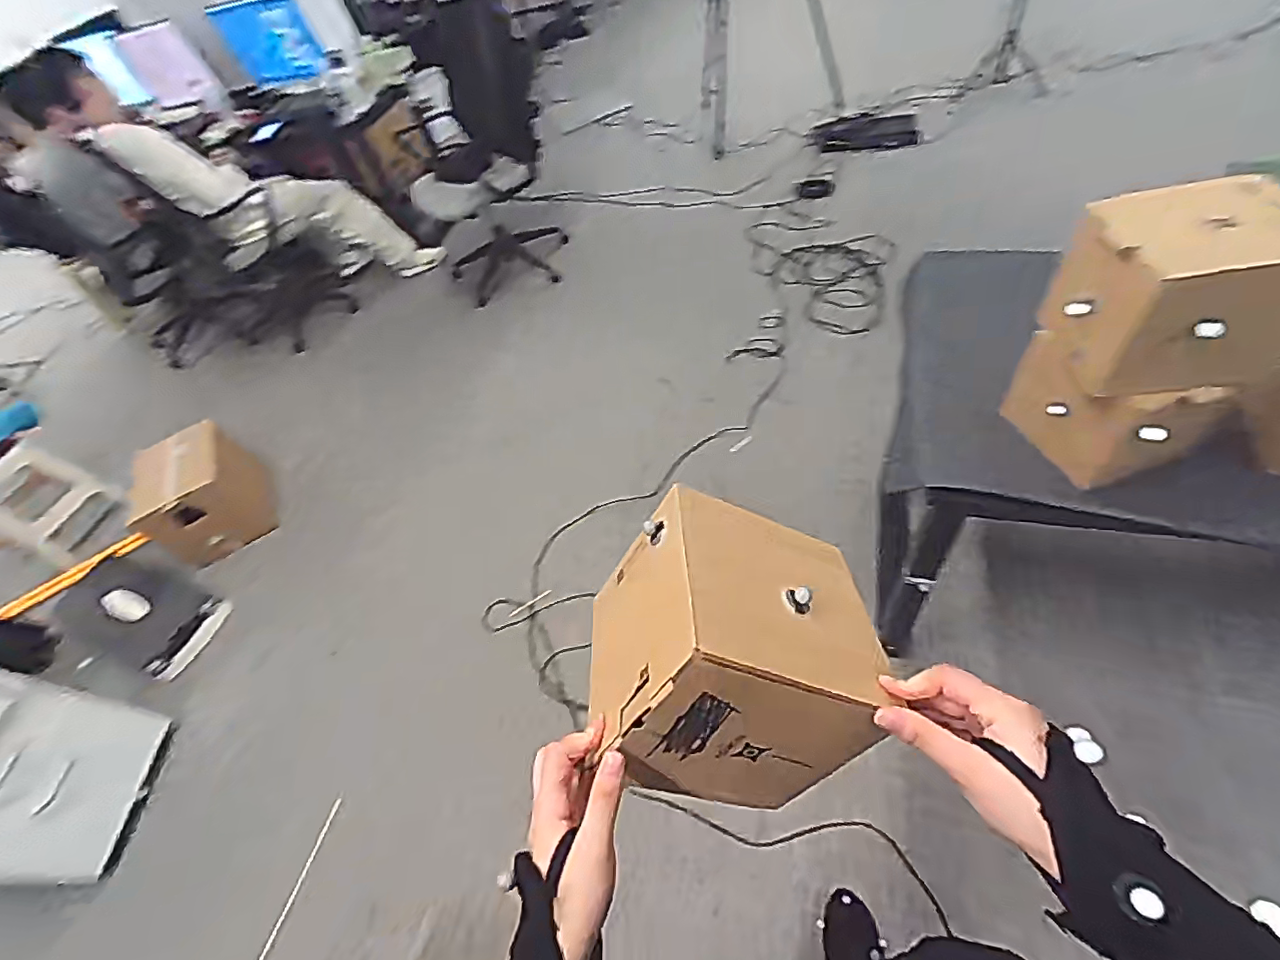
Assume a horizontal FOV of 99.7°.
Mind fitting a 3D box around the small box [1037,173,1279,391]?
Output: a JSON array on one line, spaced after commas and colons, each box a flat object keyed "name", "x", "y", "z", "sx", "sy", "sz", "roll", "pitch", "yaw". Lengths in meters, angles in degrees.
[{"name": "small box", "x": 0.610, "y": -0.225, "z": 0.642, "sx": 0.179, "sy": 0.176, "sz": 0.168, "roll": -7, "pitch": 52, "yaw": 12}]
